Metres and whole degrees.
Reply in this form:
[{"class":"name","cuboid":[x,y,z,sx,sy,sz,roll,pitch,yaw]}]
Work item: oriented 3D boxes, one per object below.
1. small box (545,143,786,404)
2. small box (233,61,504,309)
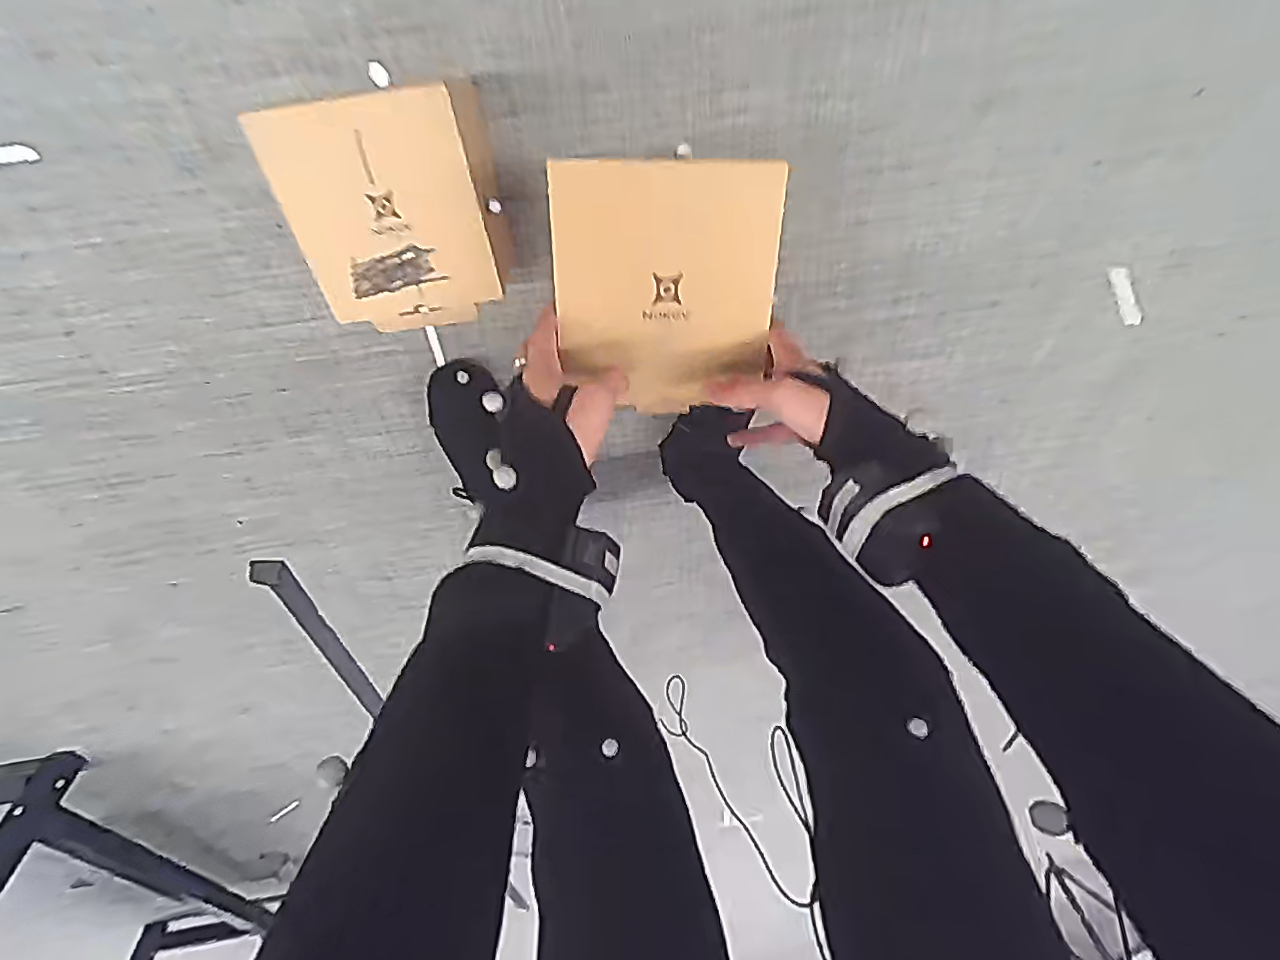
[{"class":"small box","cuboid":[0.006,-0.177,0.461,0.168,0.176,0.179,-3,120,-7]},{"class":"small box","cuboid":[-0.238,-0.294,0.535,0.168,0.176,0.179,-9,130,-2]}]
